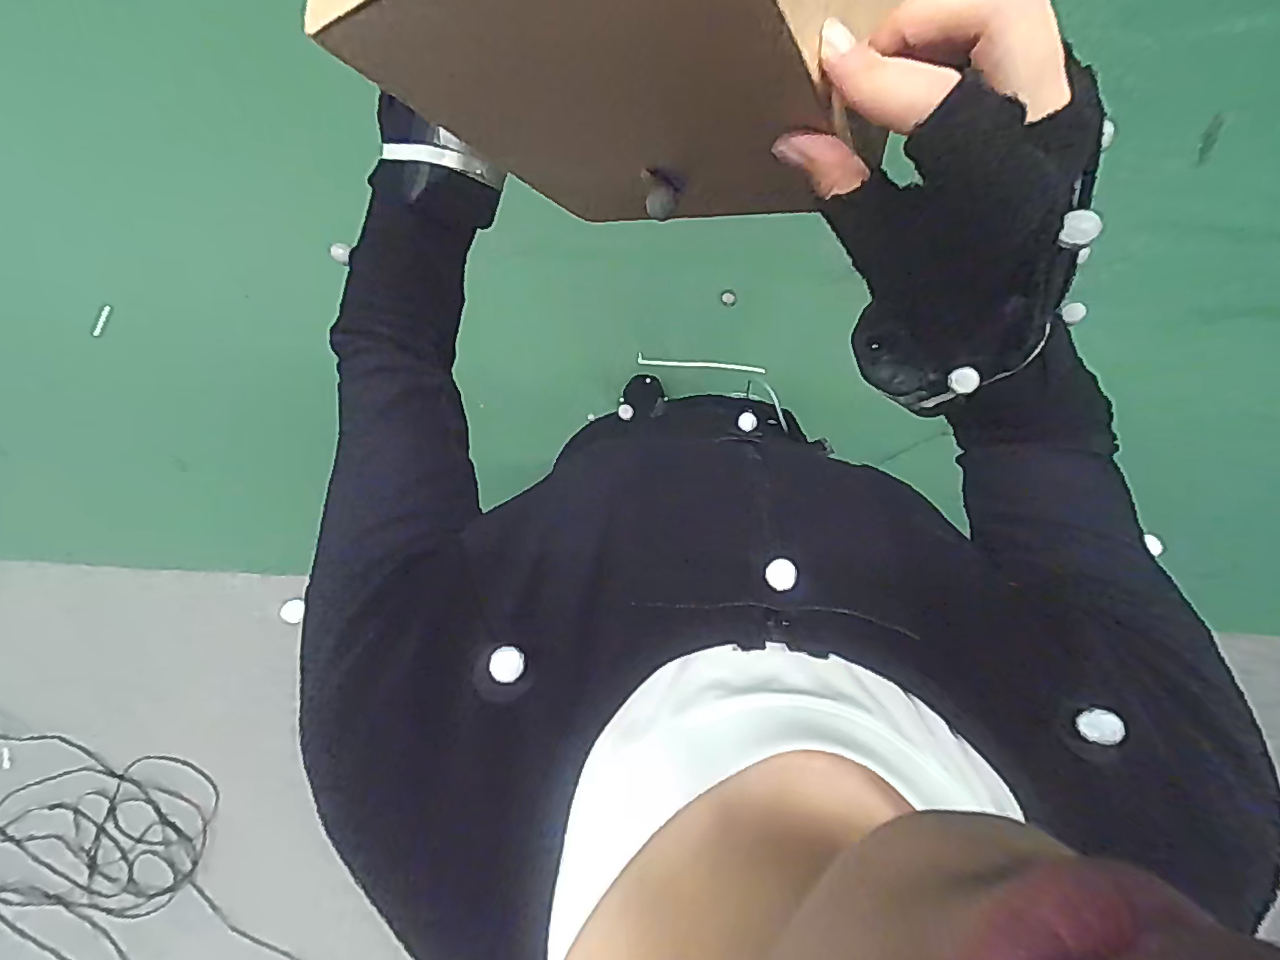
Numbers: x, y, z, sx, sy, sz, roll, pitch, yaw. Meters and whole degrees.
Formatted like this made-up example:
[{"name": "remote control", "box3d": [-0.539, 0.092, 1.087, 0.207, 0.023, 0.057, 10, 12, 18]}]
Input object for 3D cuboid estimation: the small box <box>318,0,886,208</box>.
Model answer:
[{"name": "small box", "box3d": [0.004, -0.232, 0.224, 0.179, 0.176, 0.168, 16, 97, 33]}]
